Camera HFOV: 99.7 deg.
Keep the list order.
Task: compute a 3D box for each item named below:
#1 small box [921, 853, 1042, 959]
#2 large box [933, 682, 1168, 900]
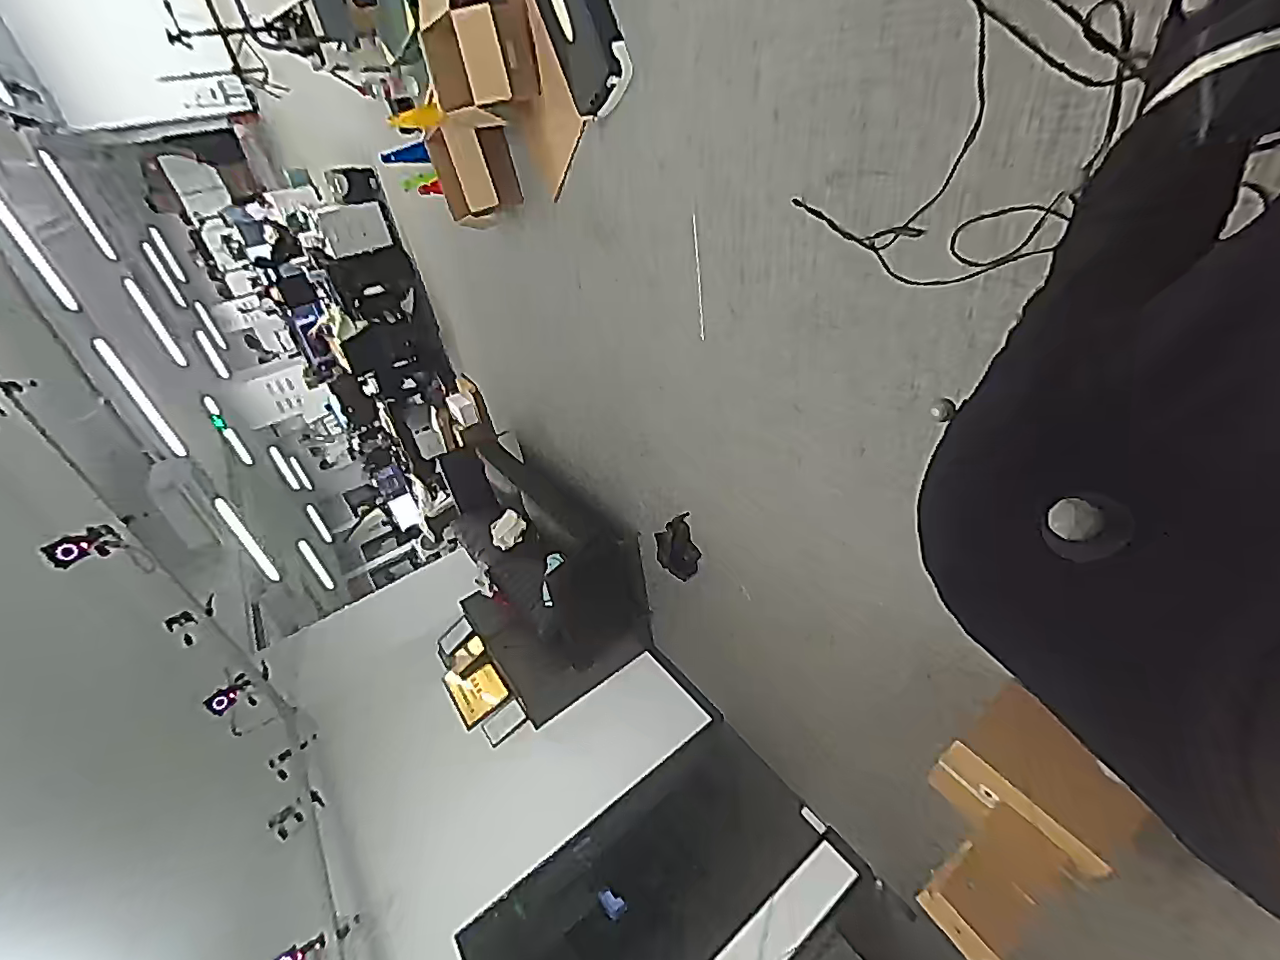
[{"bbox_3d":[0.878,1.106,1.399,0.179,0.176,0.168,43,151,35],"label":"small box"},{"bbox_3d":[1.175,0.895,1.589,0.408,0.320,0.320,42,148,40],"label":"large box"}]
